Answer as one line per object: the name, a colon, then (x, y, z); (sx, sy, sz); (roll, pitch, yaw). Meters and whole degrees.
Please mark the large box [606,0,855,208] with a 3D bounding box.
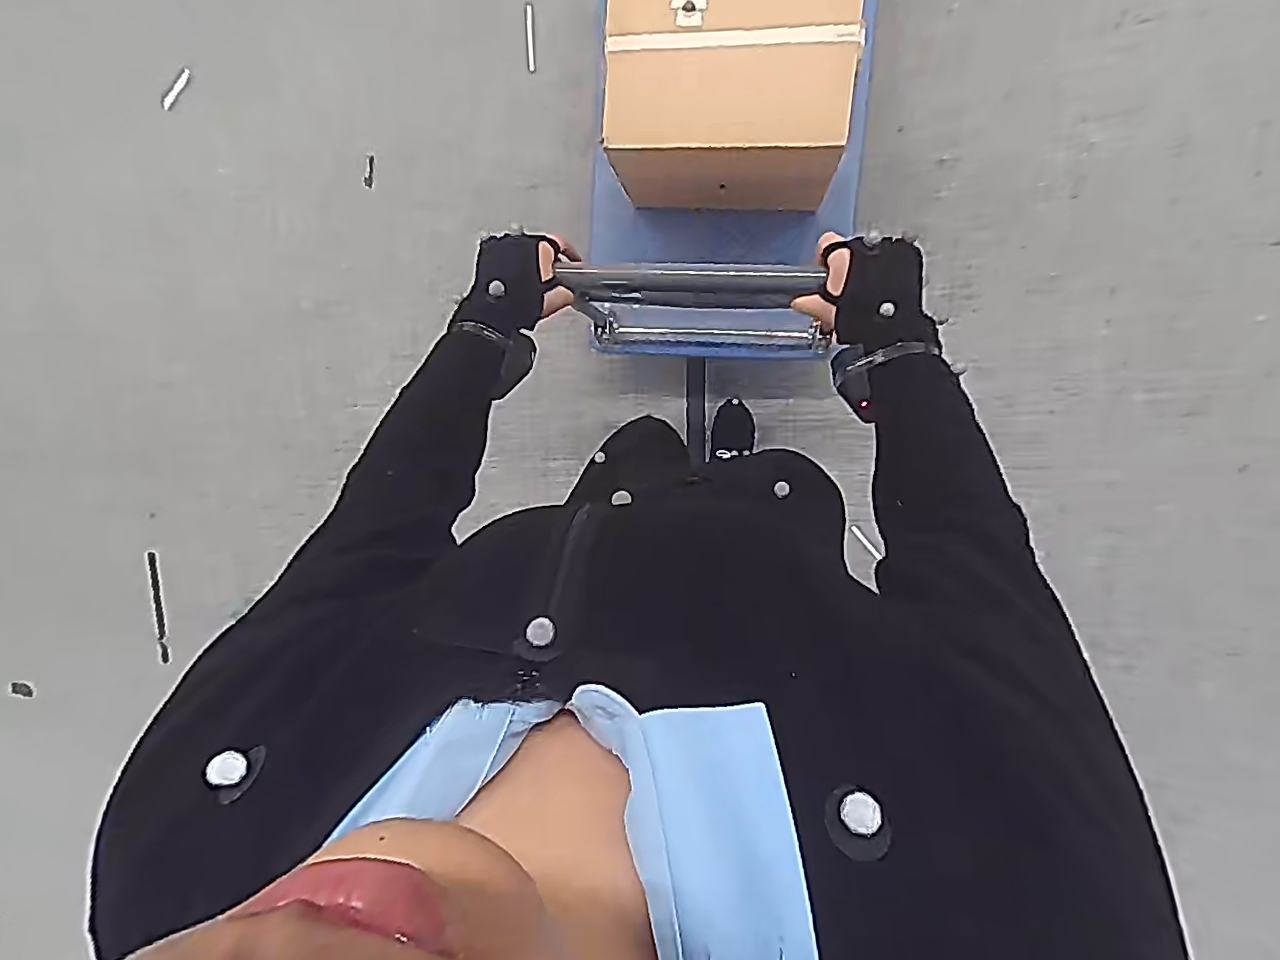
large box: (0.170, -0.735, 1.037); (0.408, 0.320, 0.320); (5, 99, 10)
